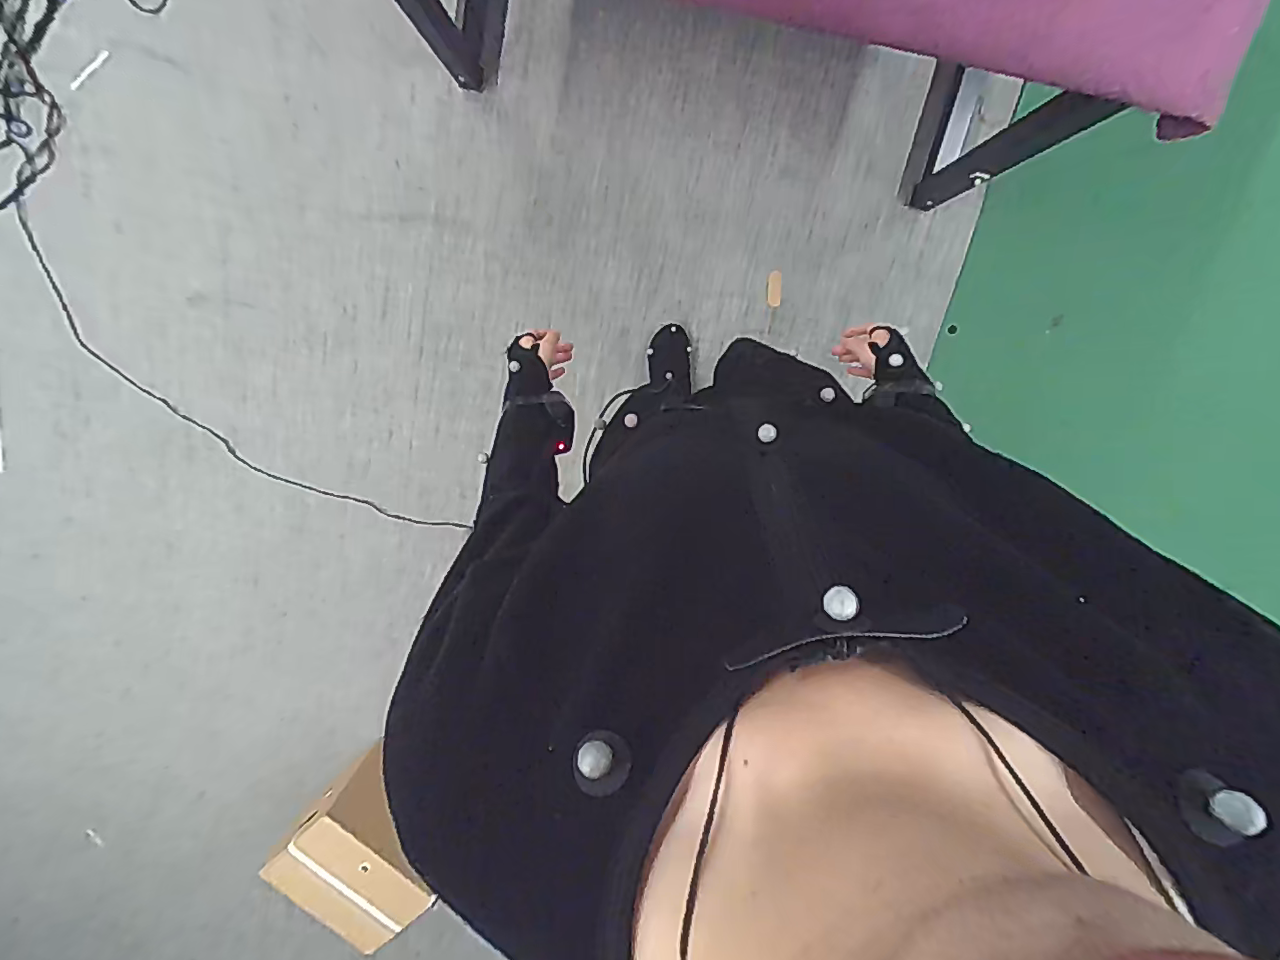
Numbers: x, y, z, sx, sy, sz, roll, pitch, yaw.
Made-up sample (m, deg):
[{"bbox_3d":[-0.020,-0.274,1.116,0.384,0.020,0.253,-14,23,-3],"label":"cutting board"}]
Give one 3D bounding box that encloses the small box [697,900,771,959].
[{"bbox_3d":[0.234,1.211,1.372,0.168,0.176,0.179,-1,102,3],"label":"small box"}]
